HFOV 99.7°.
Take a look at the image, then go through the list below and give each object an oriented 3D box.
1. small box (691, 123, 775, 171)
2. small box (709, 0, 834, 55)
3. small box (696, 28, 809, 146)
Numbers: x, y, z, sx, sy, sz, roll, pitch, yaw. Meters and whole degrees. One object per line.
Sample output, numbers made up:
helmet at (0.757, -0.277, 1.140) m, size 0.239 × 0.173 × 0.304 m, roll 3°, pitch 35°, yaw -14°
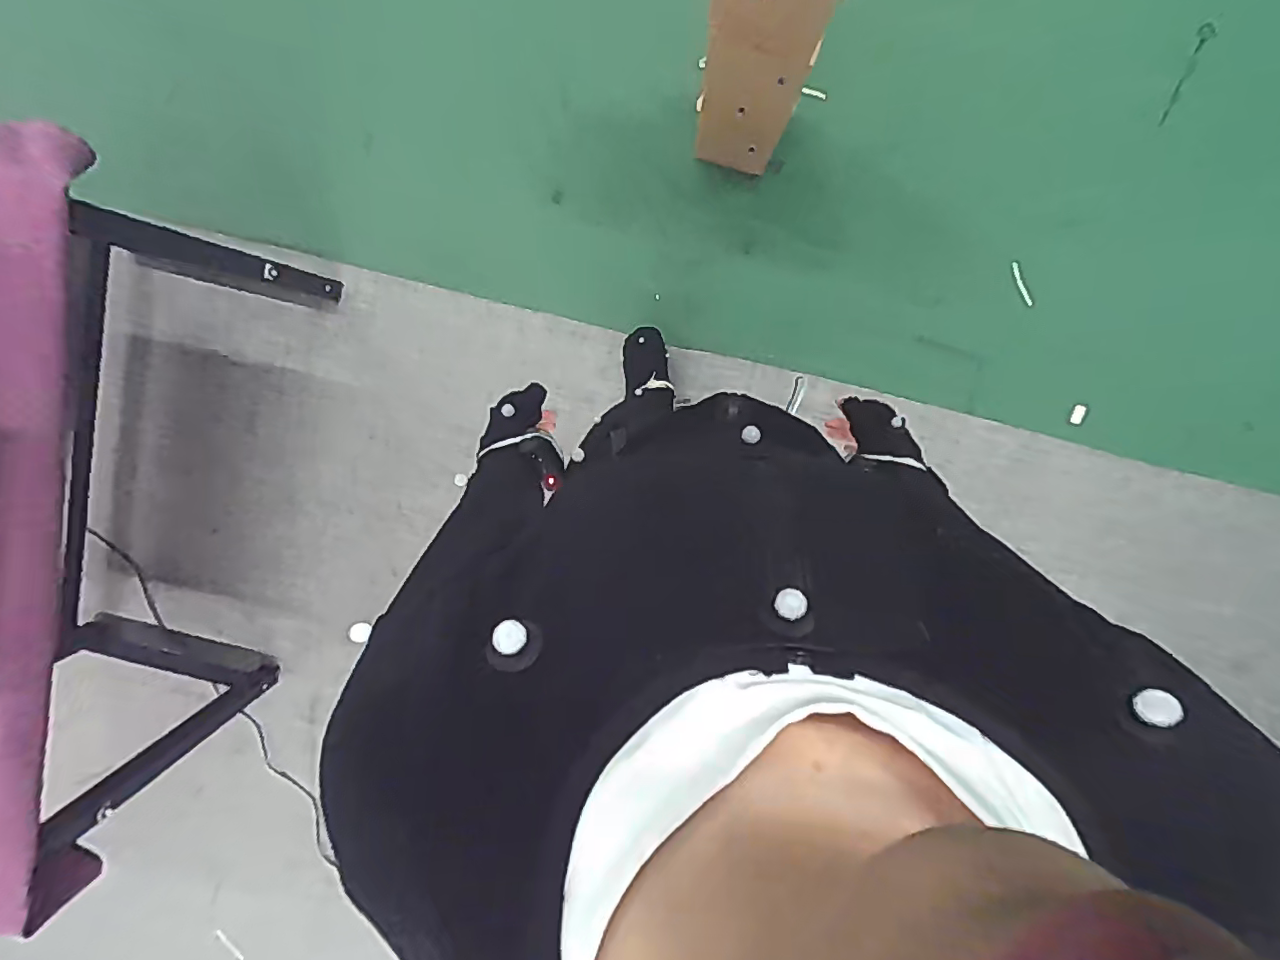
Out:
small box at (0.225, -0.836, 1.236) m, size 0.179 × 0.176 × 0.168 m, roll 15°, pitch 100°, yaw -2°
small box at (0.205, -0.745, 0.754) m, size 0.179 × 0.176 × 0.168 m, roll 18°, pitch 100°, yaw -1°
small box at (0.221, -0.800, 1.078) m, size 0.179 × 0.176 × 0.168 m, roll 16°, pitch 100°, yaw -2°
